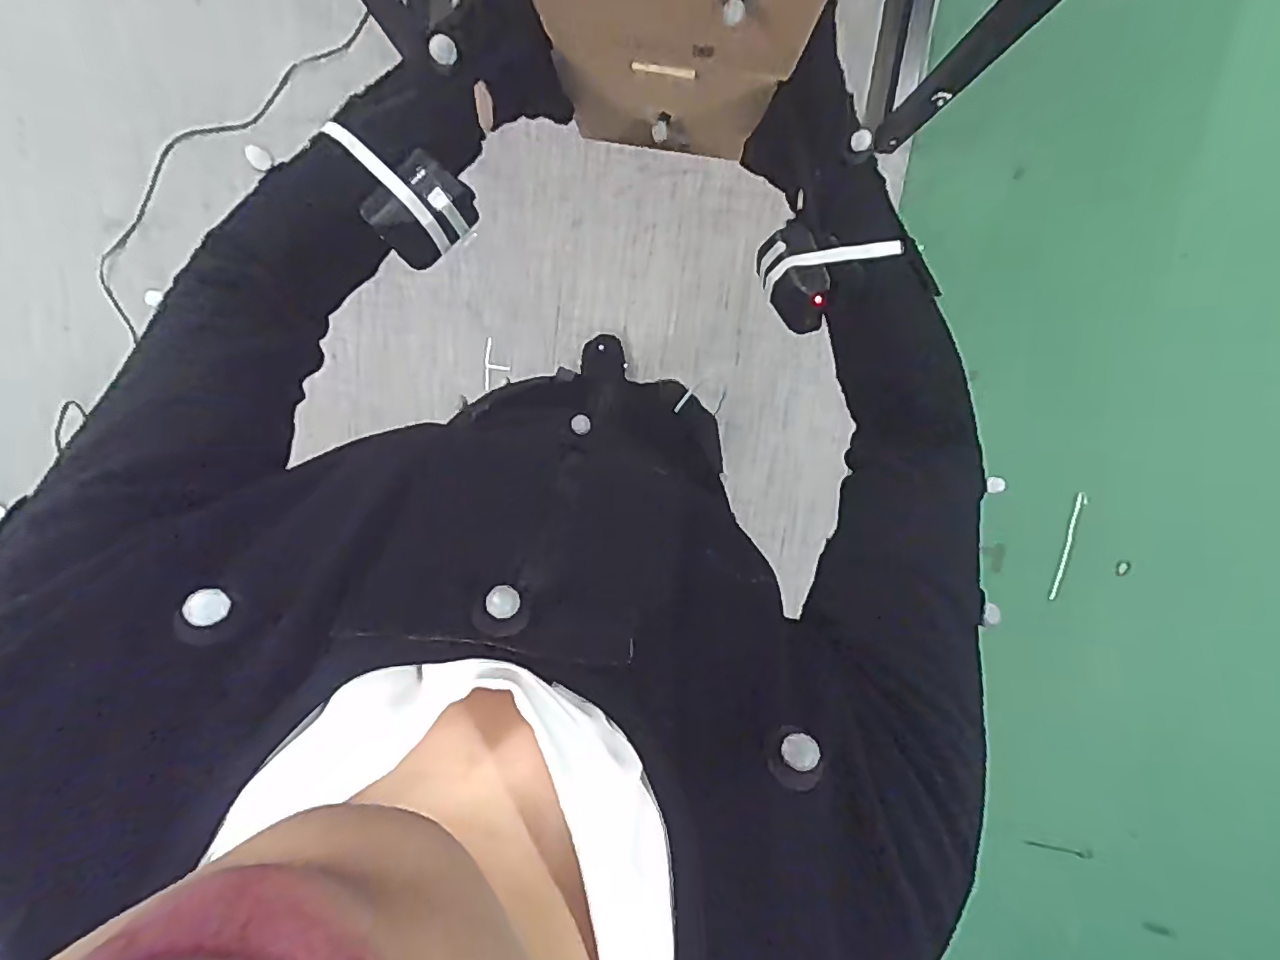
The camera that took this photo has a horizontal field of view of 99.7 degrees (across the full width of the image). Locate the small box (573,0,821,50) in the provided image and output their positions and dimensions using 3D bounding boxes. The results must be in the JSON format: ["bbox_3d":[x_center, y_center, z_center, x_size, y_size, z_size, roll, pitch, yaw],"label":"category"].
[{"bbox_3d":[0.033,-0.347,0.252,0.168,0.176,0.179,9,104,0],"label":"small box"}]

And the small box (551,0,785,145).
[{"bbox_3d":[0.032,-0.393,0.429,0.168,0.176,0.179,6,104,1],"label":"small box"}]
